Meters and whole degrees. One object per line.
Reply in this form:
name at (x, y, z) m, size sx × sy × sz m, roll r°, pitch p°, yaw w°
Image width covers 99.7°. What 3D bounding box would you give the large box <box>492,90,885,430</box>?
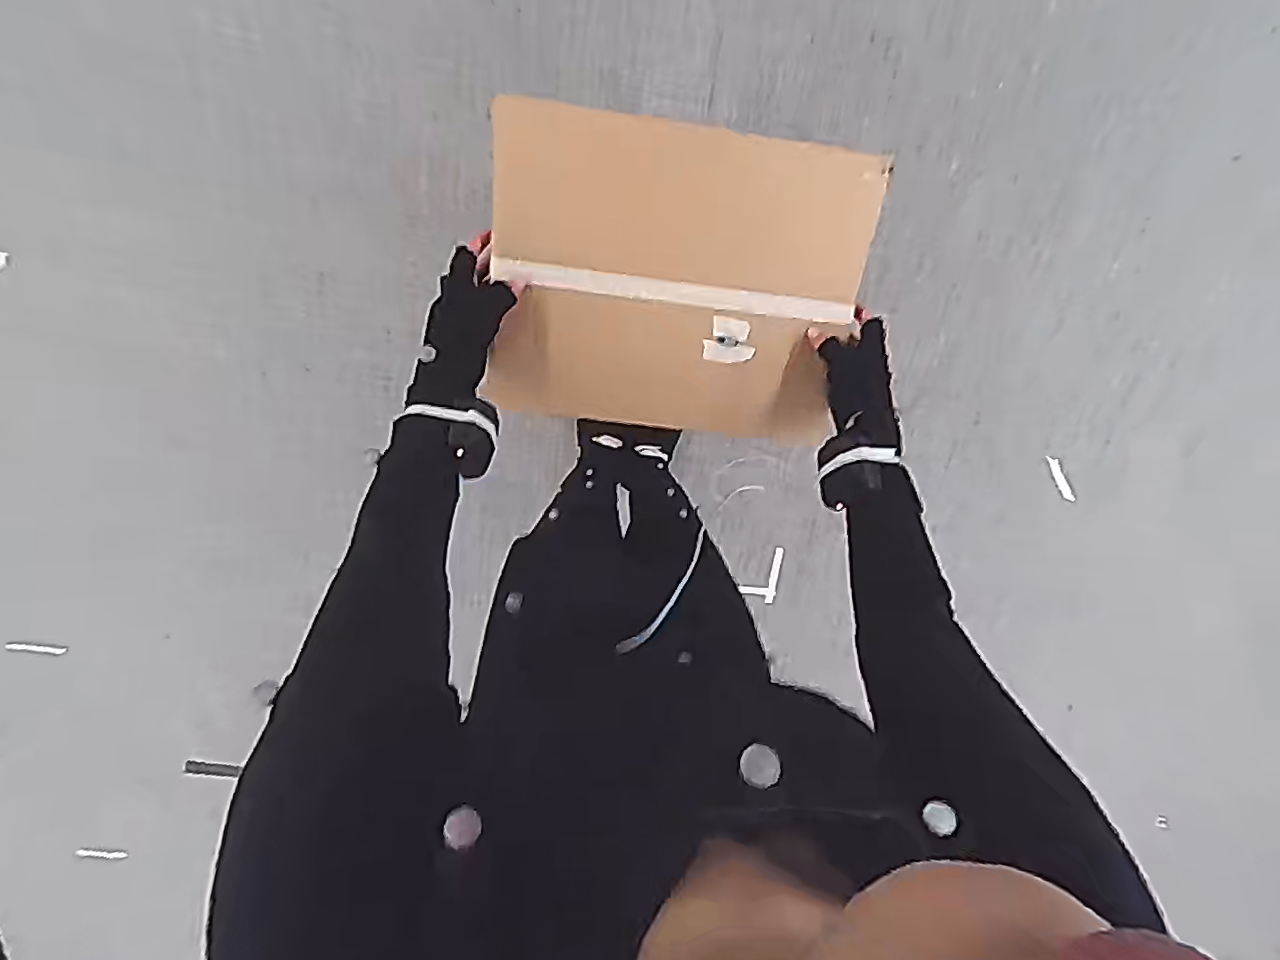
large box at (0.030, -0.276, 0.731) m, size 0.408 × 0.320 × 0.320 m, roll 6°, pitch 113°, yaw -6°
